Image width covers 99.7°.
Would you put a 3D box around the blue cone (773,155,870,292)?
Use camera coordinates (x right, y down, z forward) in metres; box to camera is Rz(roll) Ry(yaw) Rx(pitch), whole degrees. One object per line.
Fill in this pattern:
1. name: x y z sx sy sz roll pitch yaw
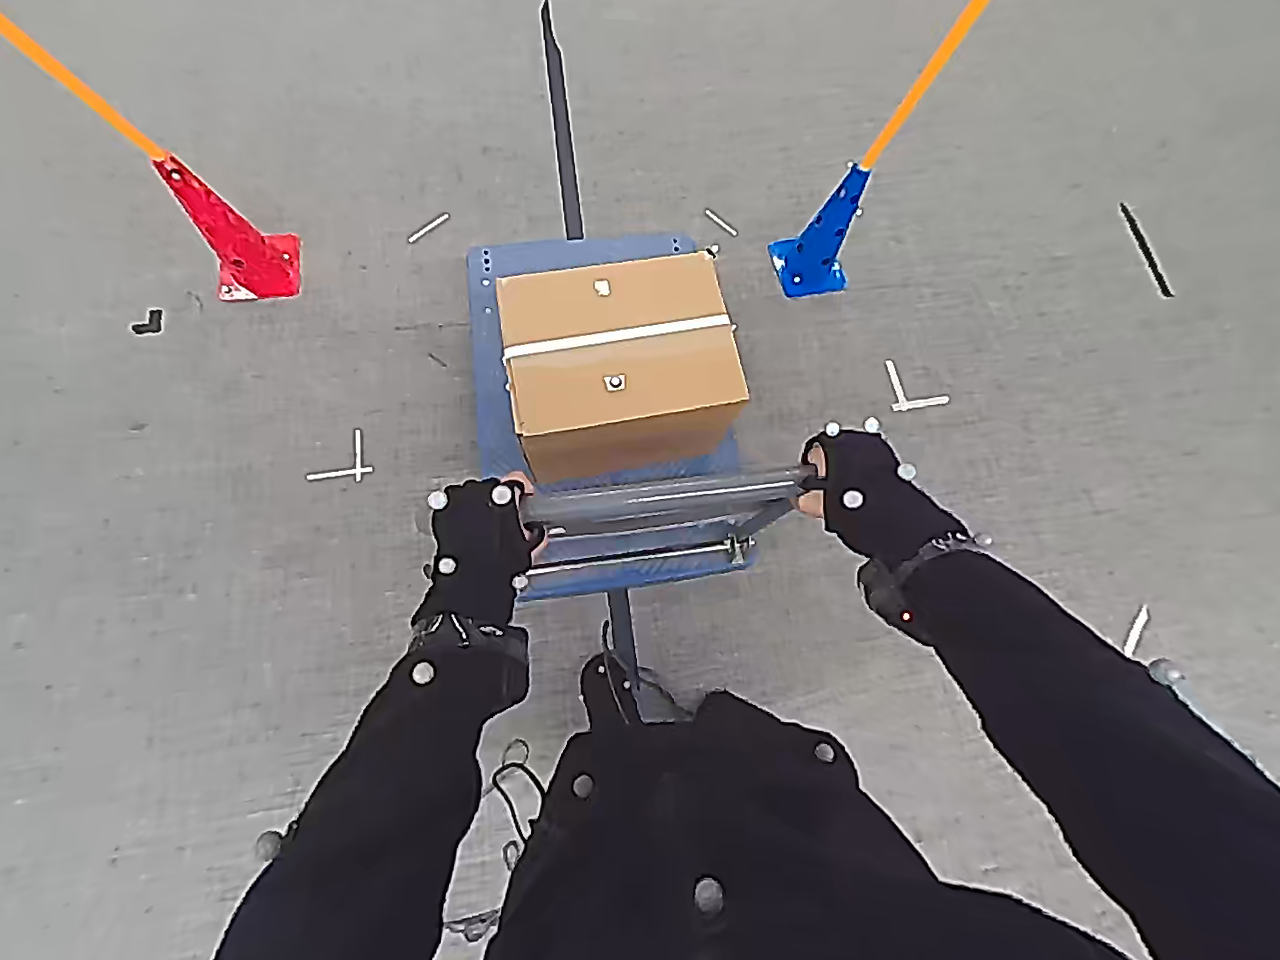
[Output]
1. blue cone: 0.521 -0.698 1.463 0.193 0.380 0.192 -10 74 -8
